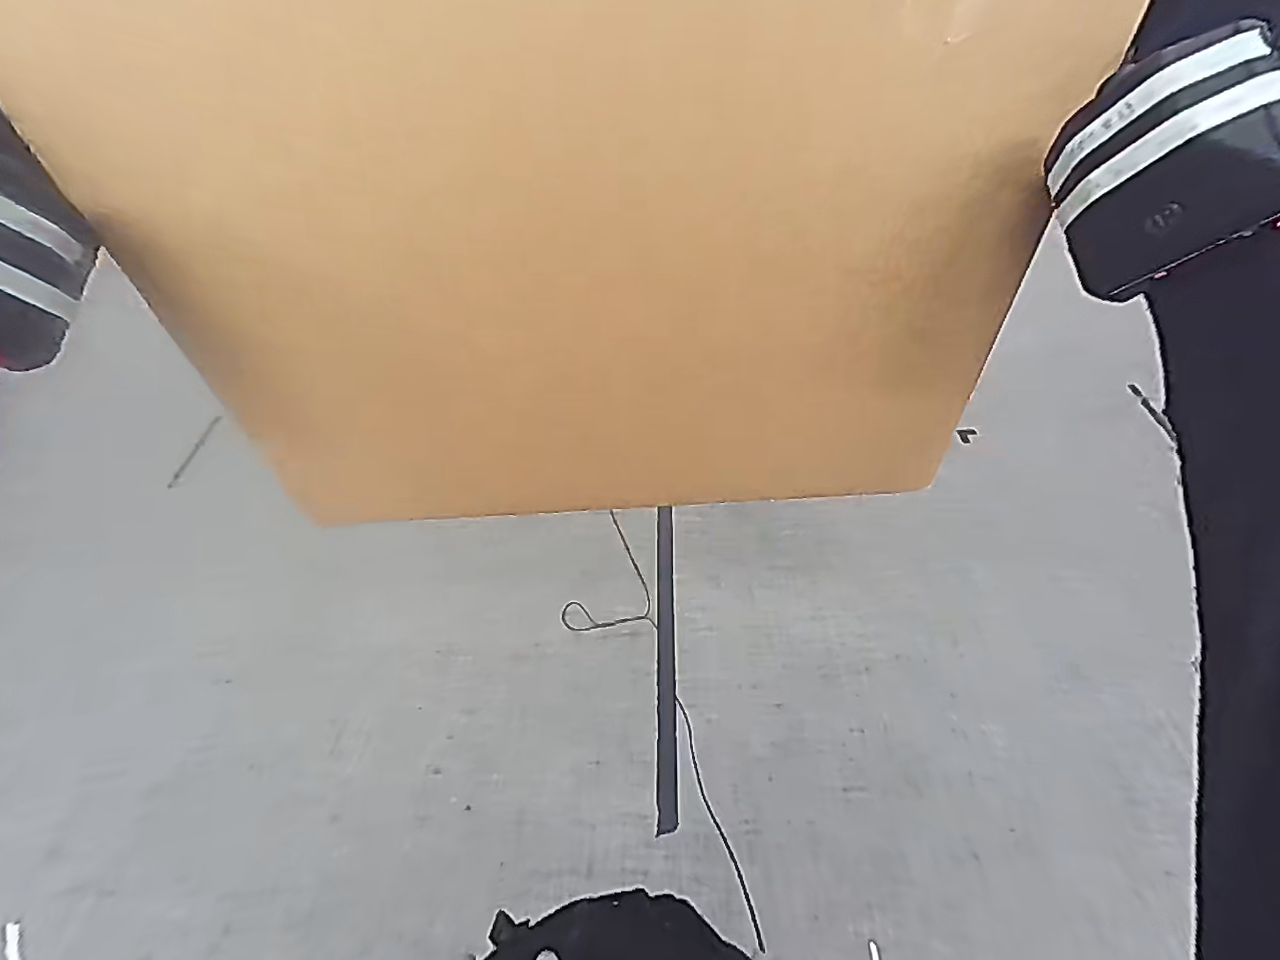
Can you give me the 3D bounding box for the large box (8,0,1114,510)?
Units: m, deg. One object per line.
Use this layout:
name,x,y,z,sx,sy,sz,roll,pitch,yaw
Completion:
large box,-0.025,-0.200,0.366,0.408,0.320,0.320,-3,45,0
